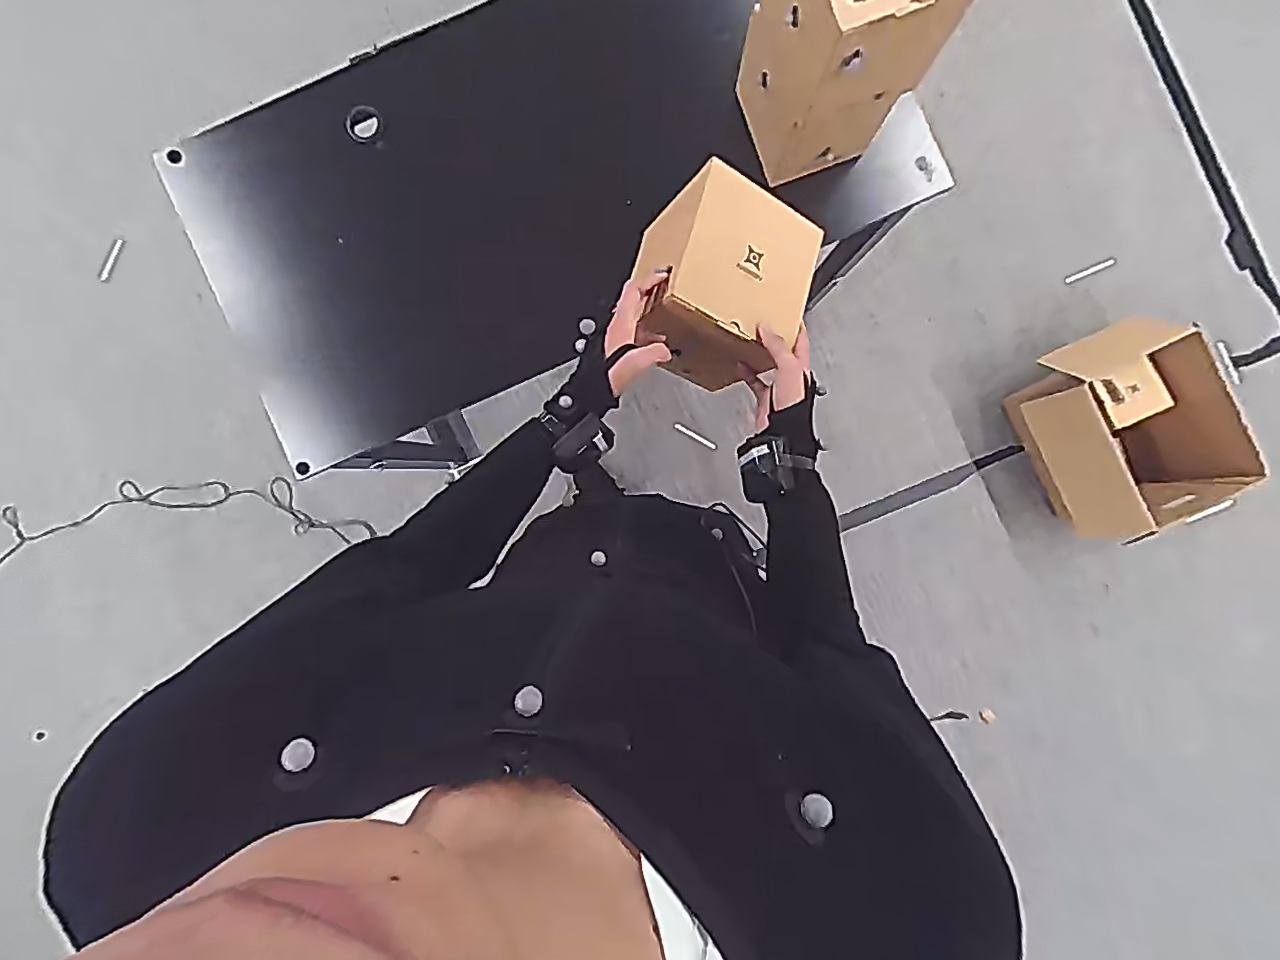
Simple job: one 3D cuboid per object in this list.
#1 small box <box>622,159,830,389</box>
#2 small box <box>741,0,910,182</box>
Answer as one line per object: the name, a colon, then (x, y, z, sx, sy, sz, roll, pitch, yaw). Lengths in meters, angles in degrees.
small box: (0.097, -0.233, 0.664, 0.168, 0.176, 0.179, 21, 79, -23)
small box: (0.261, -0.591, 0.806, 0.168, 0.176, 0.179, -19, 90, 2)
